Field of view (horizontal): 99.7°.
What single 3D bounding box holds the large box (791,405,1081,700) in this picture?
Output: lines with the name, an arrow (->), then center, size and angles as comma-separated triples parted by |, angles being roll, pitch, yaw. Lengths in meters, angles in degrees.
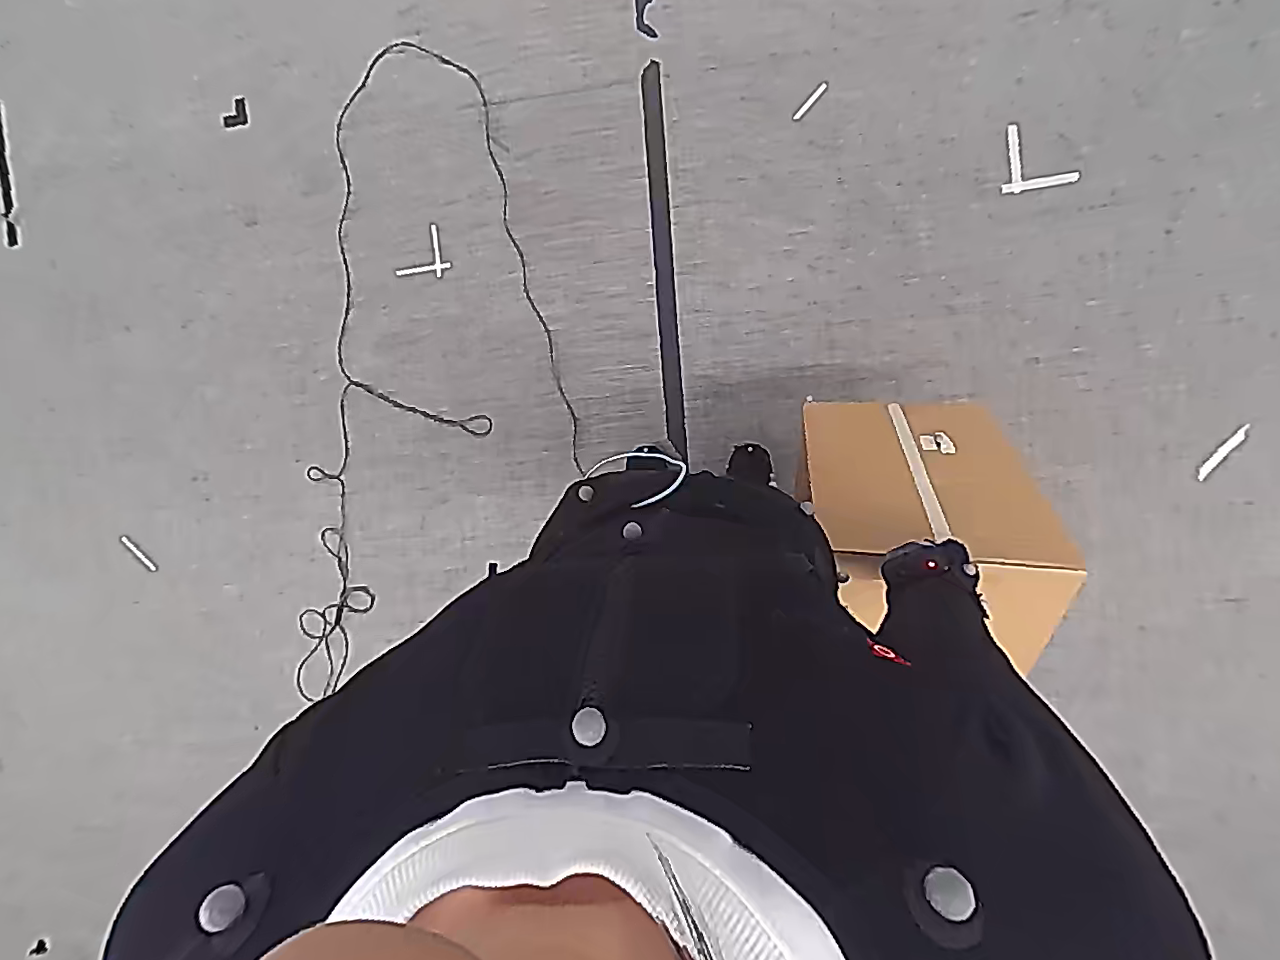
large box -> 0.436, 0.104, 0.927 | 0.320, 0.408, 0.320 | 3, 126, 10
